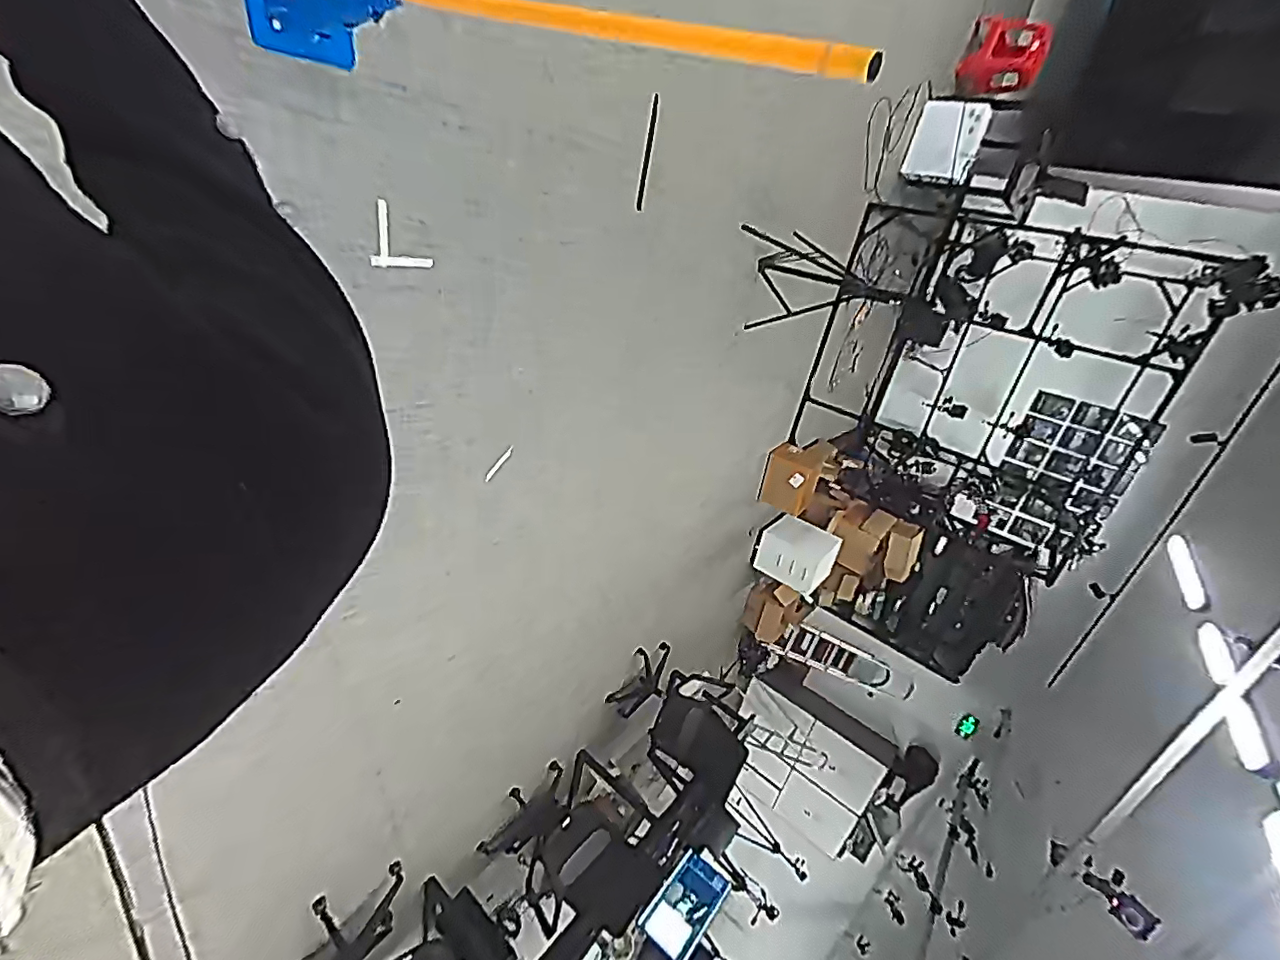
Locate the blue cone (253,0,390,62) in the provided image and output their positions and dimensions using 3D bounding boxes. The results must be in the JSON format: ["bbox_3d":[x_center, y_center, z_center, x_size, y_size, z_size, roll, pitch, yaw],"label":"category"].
[{"bbox_3d":[-0.543,-0.893,0.987,0.193,0.380,0.192,-25,133,-47],"label":"blue cone"}]
